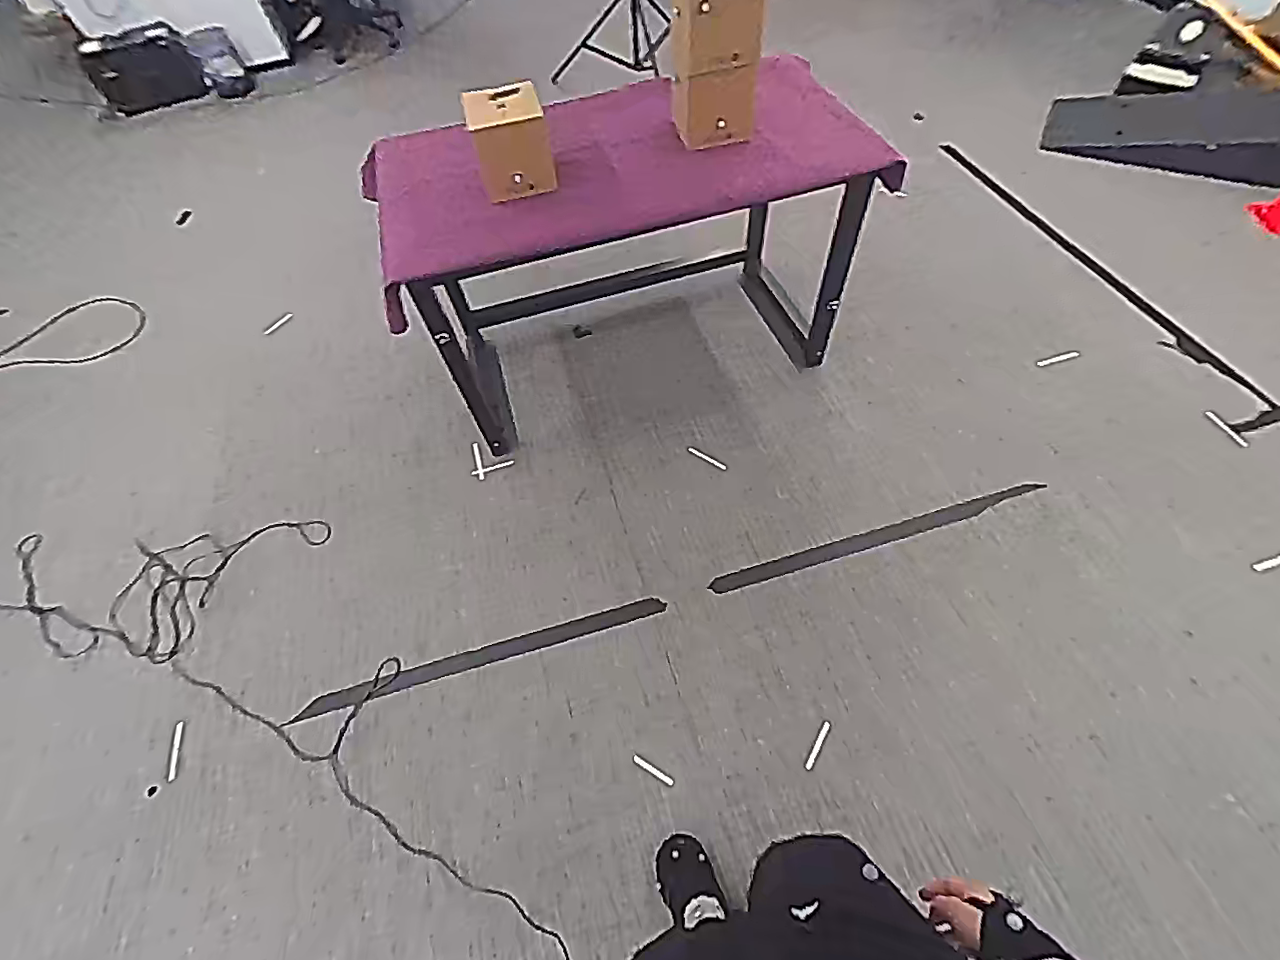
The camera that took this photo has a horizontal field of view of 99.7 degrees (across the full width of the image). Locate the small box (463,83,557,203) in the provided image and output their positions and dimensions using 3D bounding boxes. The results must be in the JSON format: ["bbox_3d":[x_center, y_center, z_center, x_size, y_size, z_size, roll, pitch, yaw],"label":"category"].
[{"bbox_3d":[-0.302,-0.785,1.265,0.168,0.176,0.179,-15,59,-5],"label":"small box"}]

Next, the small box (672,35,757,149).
[{"bbox_3d":[0.175,-0.948,1.326,0.168,0.176,0.179,-12,58,-2],"label":"small box"}]
